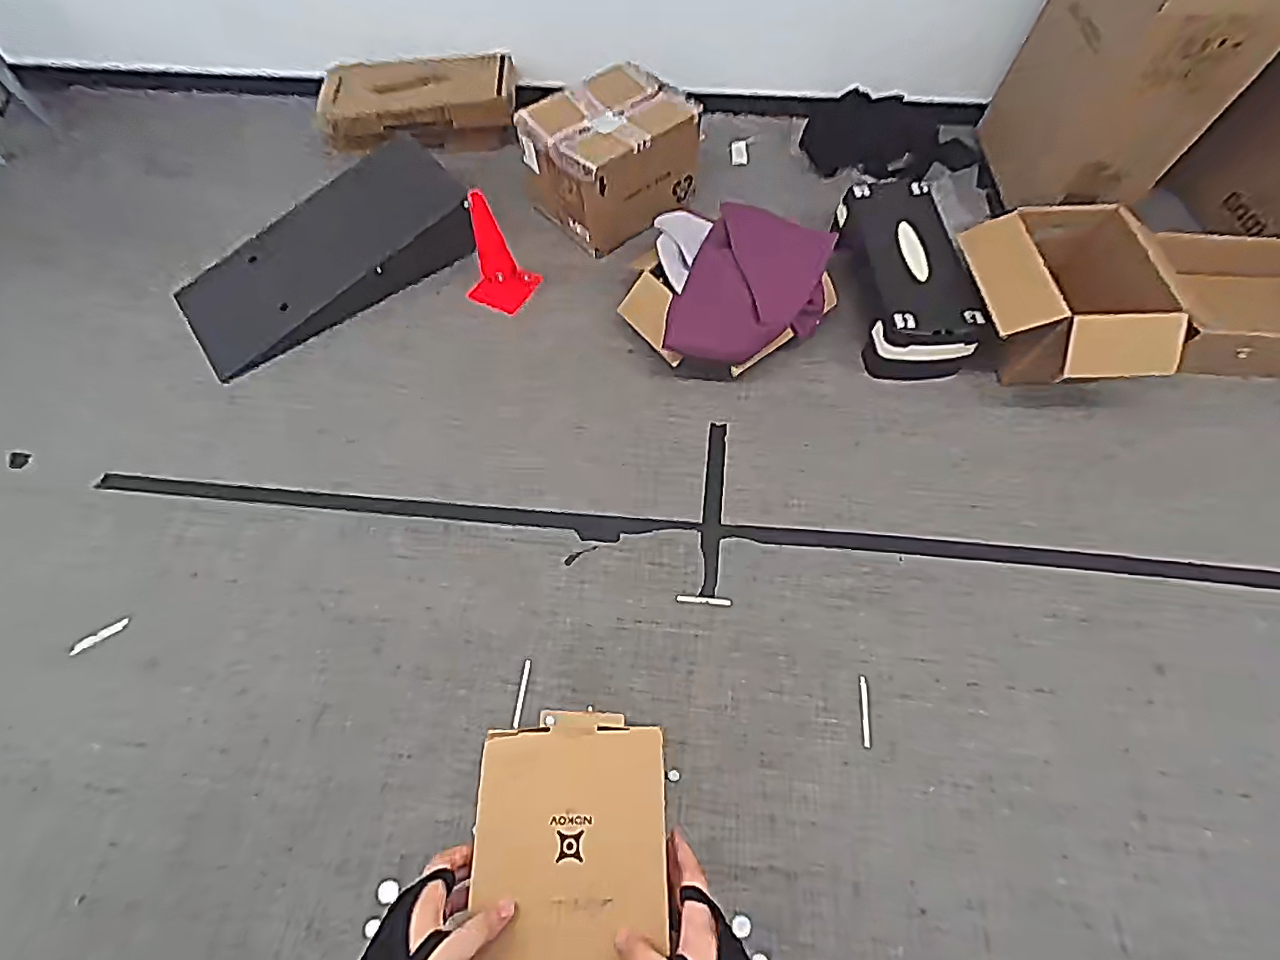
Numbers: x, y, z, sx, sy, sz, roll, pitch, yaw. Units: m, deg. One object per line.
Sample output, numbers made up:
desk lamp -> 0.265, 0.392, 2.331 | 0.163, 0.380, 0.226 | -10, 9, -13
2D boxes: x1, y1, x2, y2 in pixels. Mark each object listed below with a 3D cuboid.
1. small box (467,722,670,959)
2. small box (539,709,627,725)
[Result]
small box -> -0.057, 0.344, 0.540 | 0.168, 0.176, 0.179 | -3, 64, 2
small box -> -0.121, 0.584, 1.143 | 0.179, 0.176, 0.168 | 2, 64, 2
